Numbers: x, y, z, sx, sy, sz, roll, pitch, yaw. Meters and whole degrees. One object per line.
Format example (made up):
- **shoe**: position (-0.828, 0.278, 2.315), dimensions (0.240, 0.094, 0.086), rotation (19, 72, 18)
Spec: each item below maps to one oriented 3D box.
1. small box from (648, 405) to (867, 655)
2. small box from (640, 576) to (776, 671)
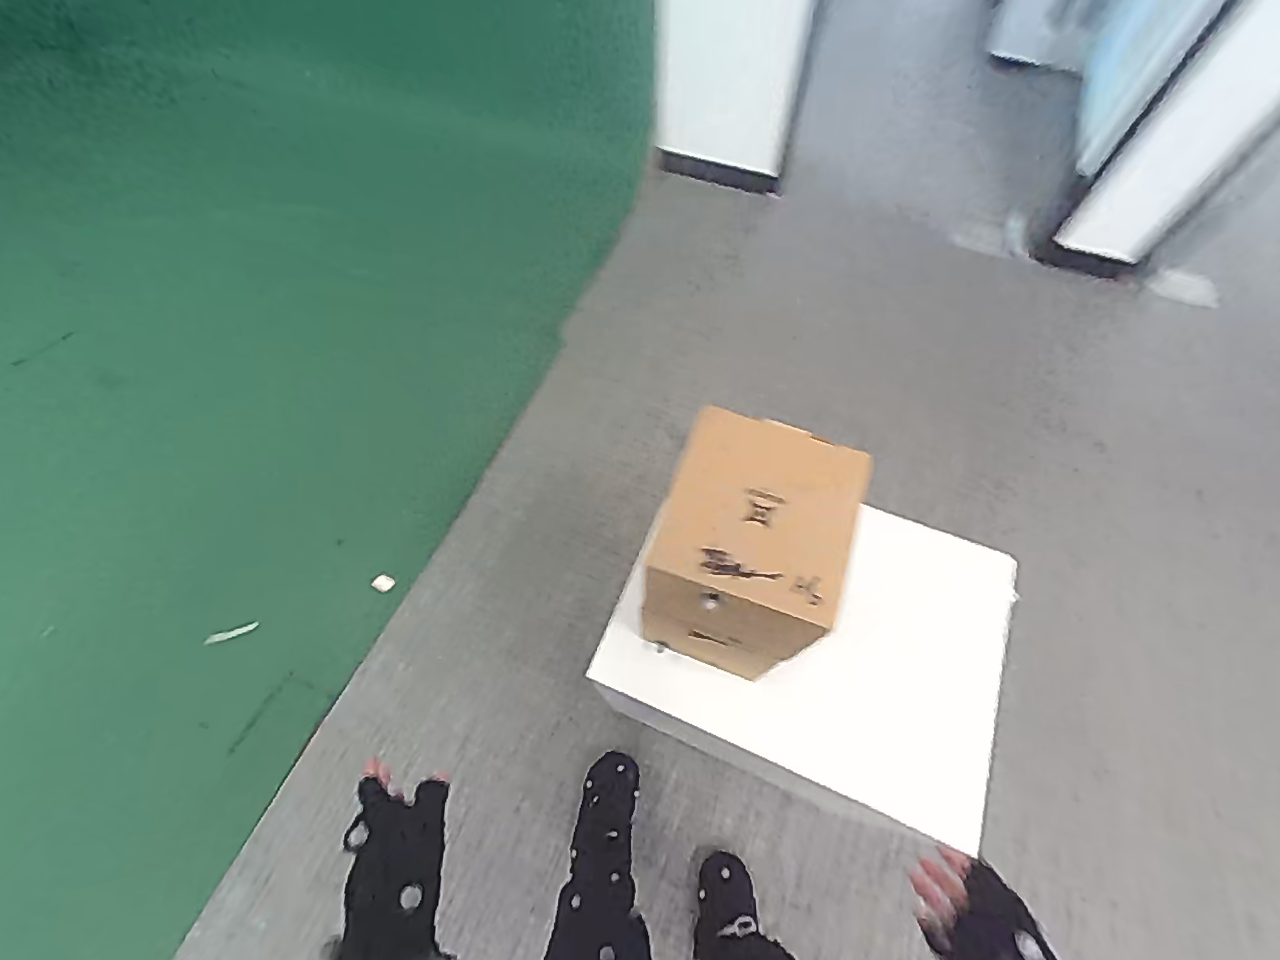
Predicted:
- **small box**: position (0.110, 0.058, 0.557), dimensions (0.168, 0.176, 0.179), rotation (18, 64, 10)
- **small box**: position (0.108, 0.131, 0.703), dimensions (0.168, 0.176, 0.179), rotation (19, 64, 10)
